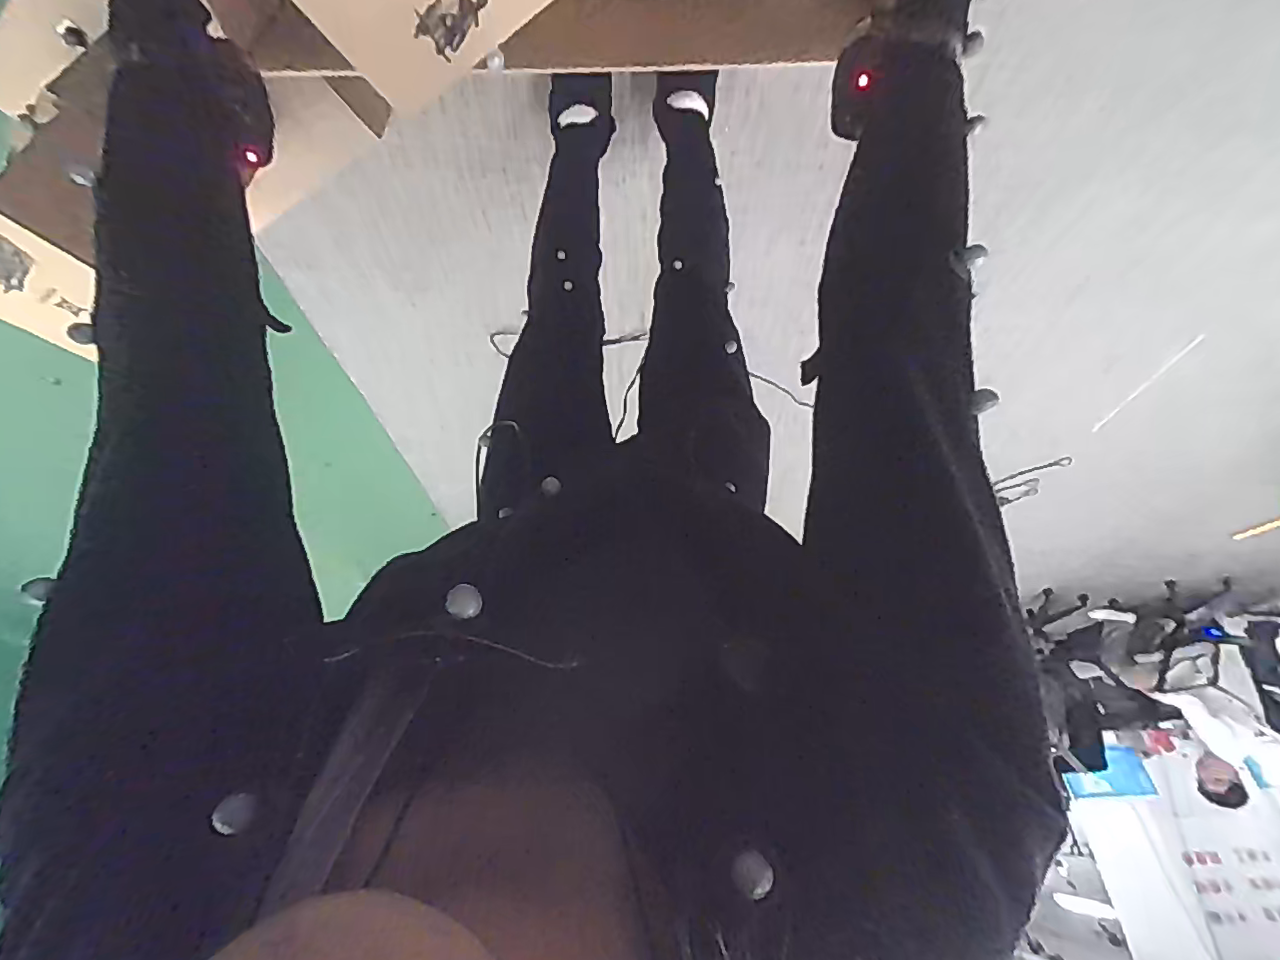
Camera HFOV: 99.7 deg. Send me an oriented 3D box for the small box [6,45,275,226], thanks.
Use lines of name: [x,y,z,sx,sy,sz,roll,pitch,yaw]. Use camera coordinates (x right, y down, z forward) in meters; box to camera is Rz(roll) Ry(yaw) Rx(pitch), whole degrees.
small box: [-0.616,-0.402,0.688,0.168,0.176,0.179,-20,145,27]

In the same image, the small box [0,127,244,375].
small box: [-0.605,-0.257,0.612,0.168,0.176,0.179,-16,147,23]

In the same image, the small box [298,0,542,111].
small box: [-0.122,-0.355,0.280,0.168,0.176,0.179,-18,145,25]
